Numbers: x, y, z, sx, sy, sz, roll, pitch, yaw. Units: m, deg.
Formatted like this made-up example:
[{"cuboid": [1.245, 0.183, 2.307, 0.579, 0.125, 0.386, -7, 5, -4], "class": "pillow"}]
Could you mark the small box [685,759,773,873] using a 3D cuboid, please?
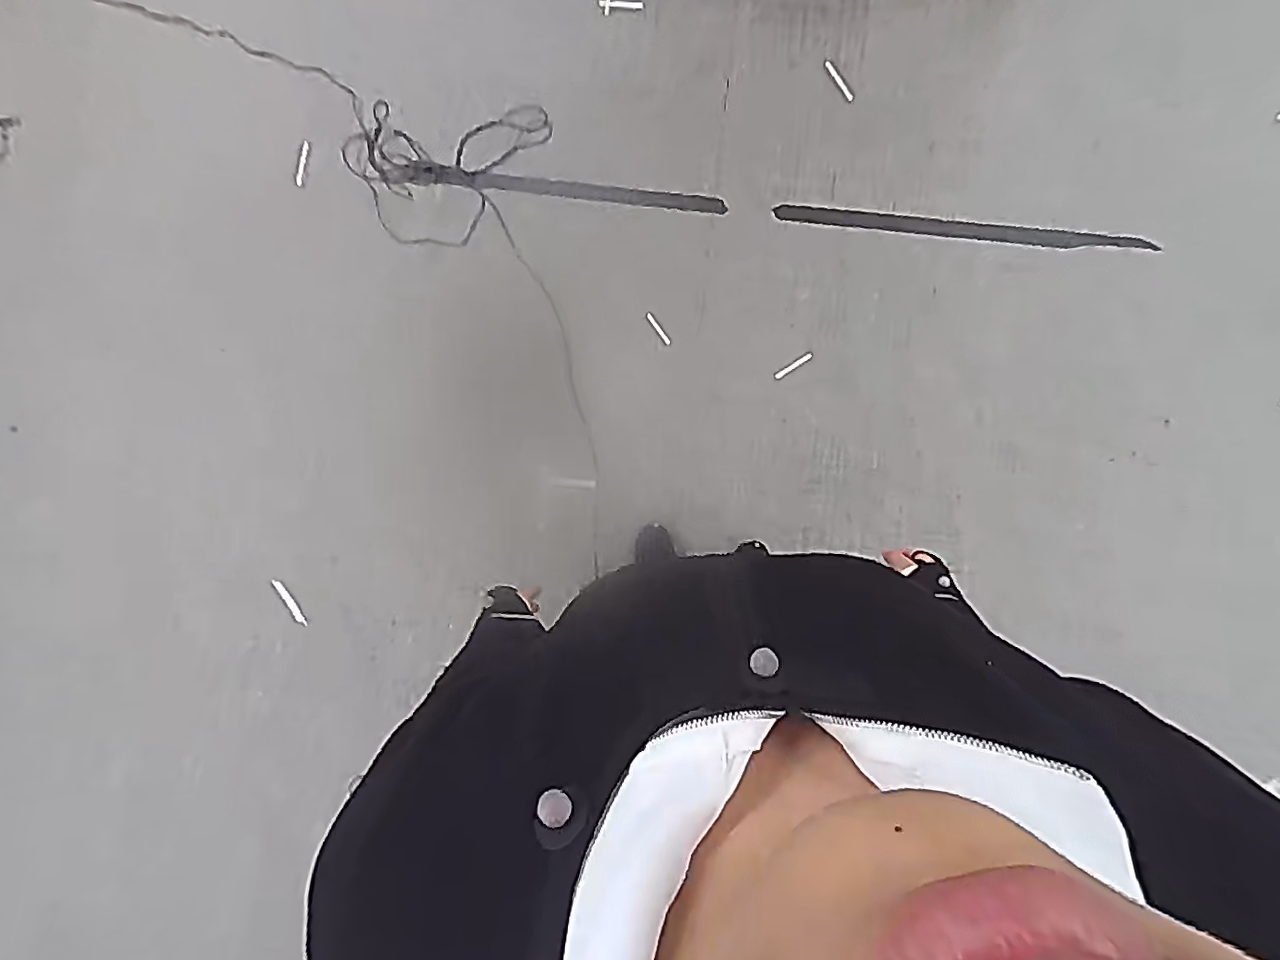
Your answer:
[{"cuboid": [0.187, 0.724, 1.173, 0.168, 0.176, 0.179, 5, 86, 4], "class": "small box"}]

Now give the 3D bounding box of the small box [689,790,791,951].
[{"cuboid": [0.178, 0.716, 1.009, 0.168, 0.176, 0.179, 4, 85, 4], "class": "small box"}]
